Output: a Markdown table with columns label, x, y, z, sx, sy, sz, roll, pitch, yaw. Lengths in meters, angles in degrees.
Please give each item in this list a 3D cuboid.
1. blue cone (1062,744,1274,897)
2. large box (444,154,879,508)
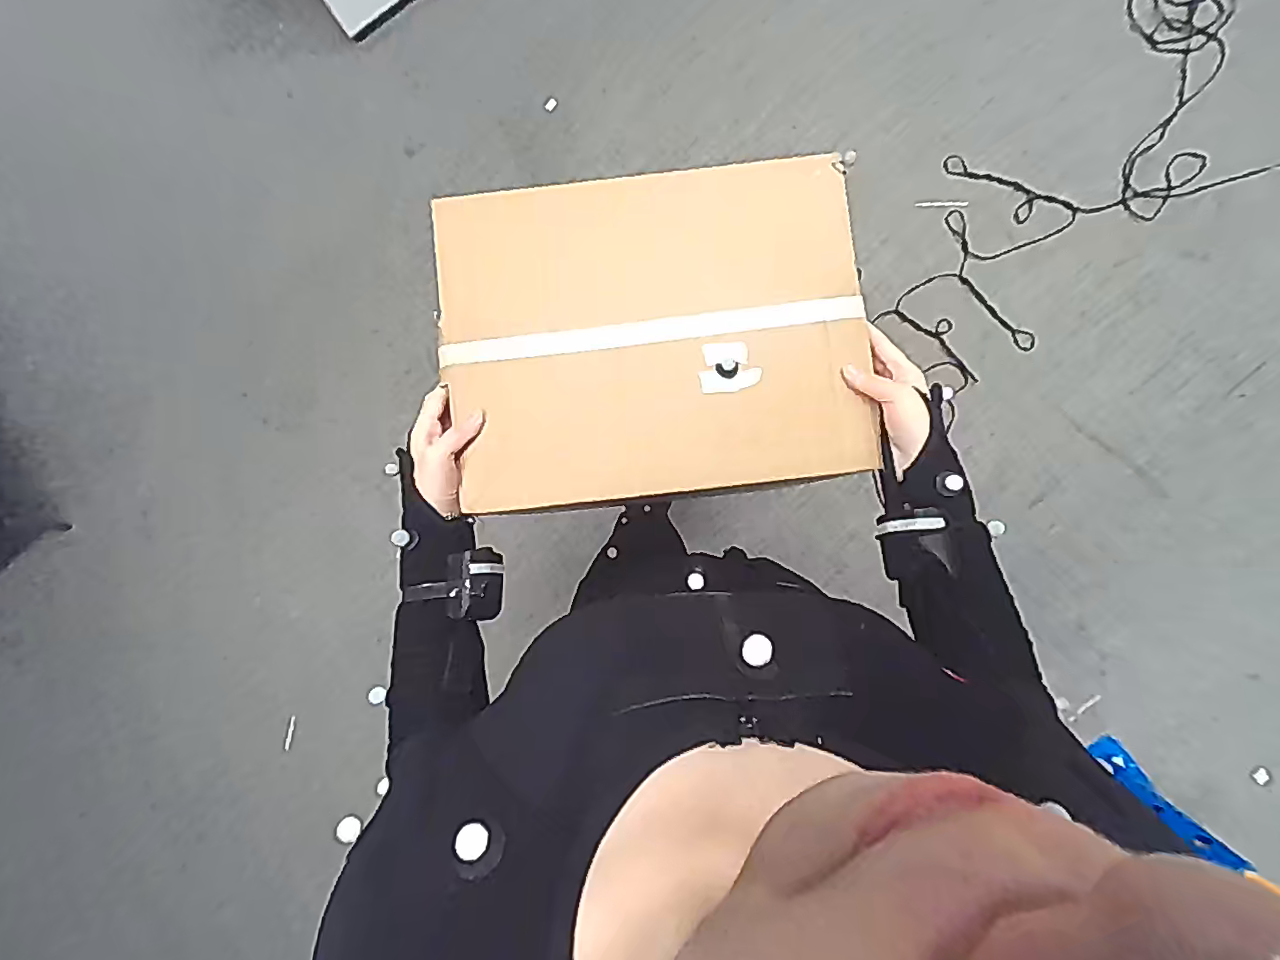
| label | x | y | z | sx | sy | sz | roll | pitch | yaw |
| --- | --- | --- | --- | --- | --- | --- | --- | --- | --- |
| blue cone | 1.138 | 0.746 | 1.159 | 0.193 | 0.380 | 0.192 | -33 | 82 | 1 |
| large box | 0.016 | -0.143 | 0.677 | 0.408 | 0.320 | 0.320 | -6 | 87 | -1 |
